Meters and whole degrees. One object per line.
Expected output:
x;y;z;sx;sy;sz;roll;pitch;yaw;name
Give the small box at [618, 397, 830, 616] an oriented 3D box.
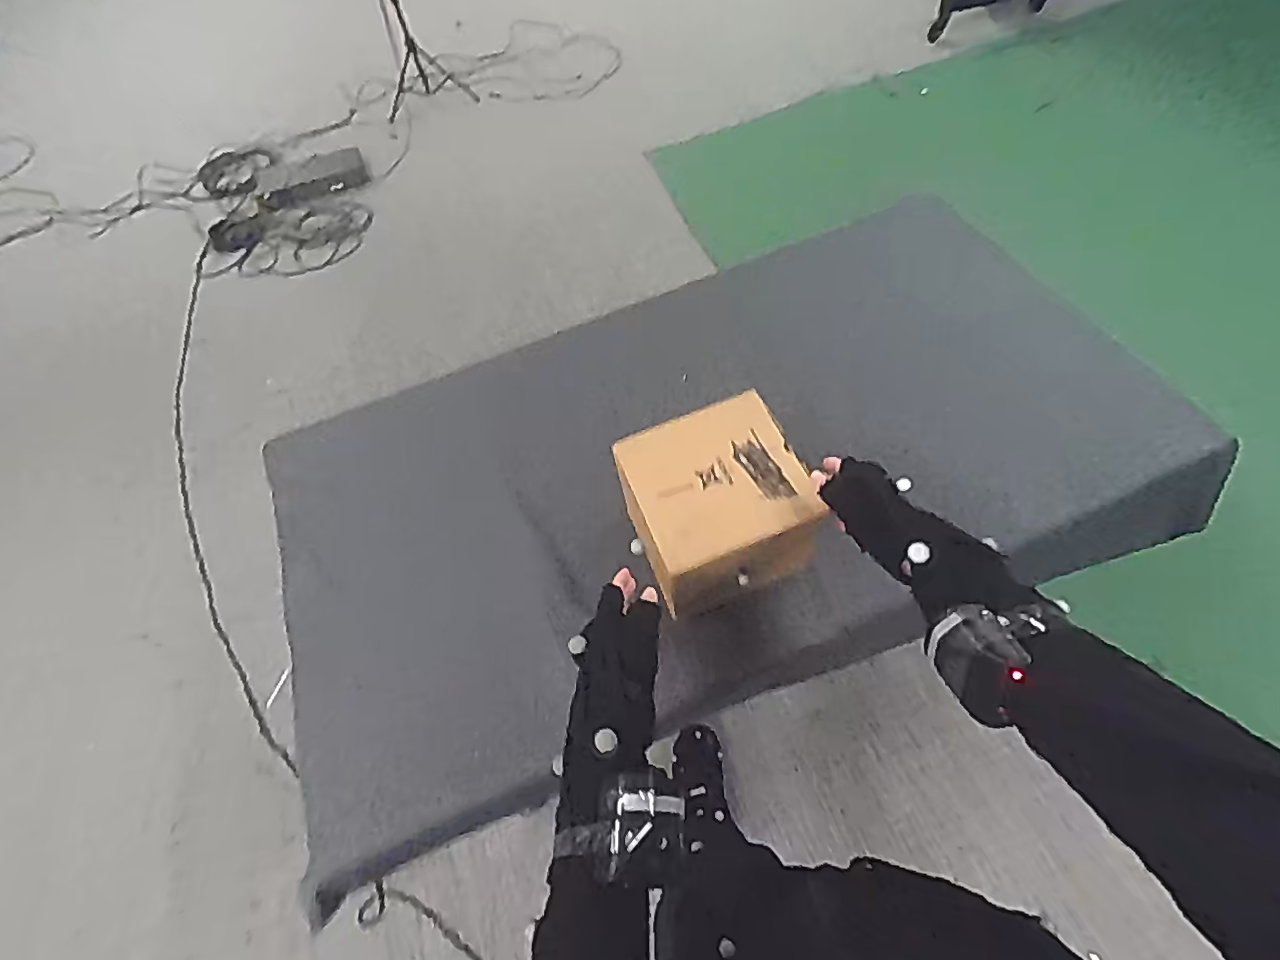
0.088;0.037;0.633;0.179;0.176;0.168;-21;61;-6;small box
